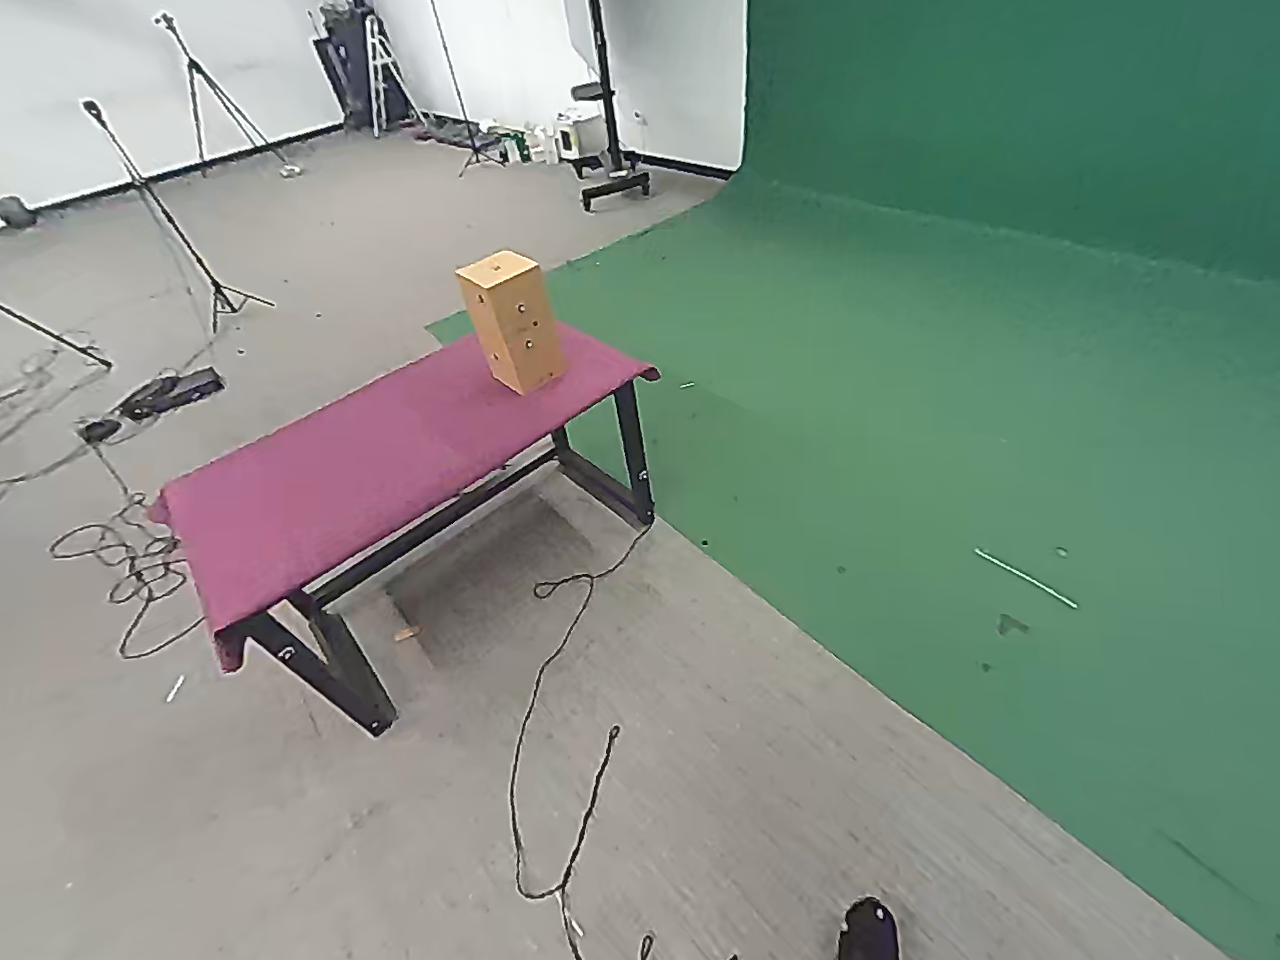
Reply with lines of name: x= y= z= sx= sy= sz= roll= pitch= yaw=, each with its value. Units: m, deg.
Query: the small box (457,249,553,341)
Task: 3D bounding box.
small box: x=-0.361 y=-0.500 z=1.470 sx=0.168 sy=0.176 sz=0.179 roll=-36 pitch=49 yaw=-24

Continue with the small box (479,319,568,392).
small box: x=-0.339 y=-0.384 z=1.586 sx=0.168 sy=0.176 sz=0.179 roll=-37 pitch=50 yaw=-24
